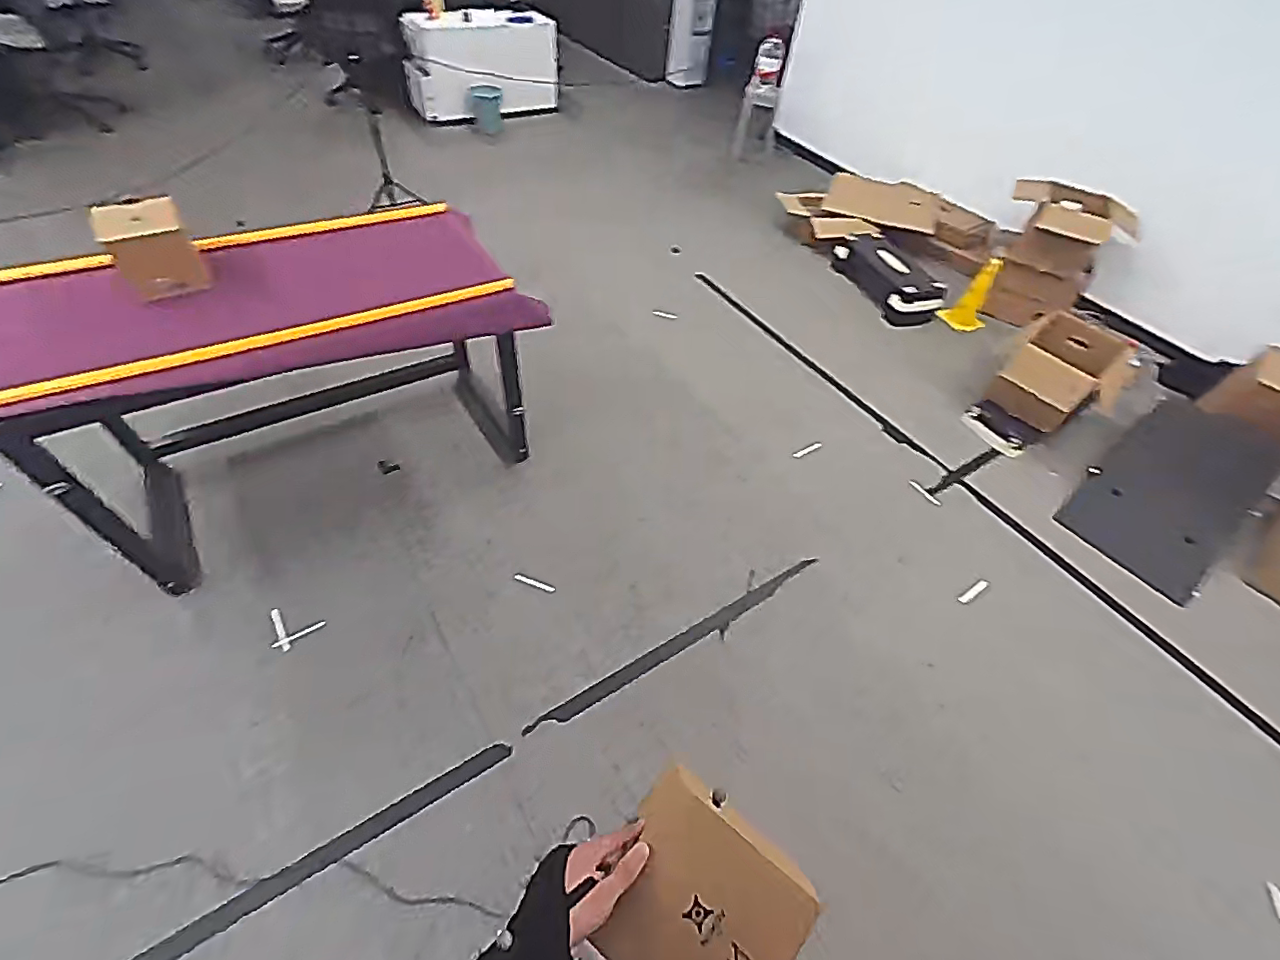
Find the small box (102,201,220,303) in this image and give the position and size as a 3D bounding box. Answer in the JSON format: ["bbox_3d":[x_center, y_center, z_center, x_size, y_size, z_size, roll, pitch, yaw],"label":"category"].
[{"bbox_3d":[-1.231,-0.588,1.396,0.168,0.176,0.179,-26,59,-24],"label":"small box"}]

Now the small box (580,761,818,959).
[{"bbox_3d":[0.057,0.440,0.598,0.179,0.176,0.168,36,76,10],"label":"small box"}]
